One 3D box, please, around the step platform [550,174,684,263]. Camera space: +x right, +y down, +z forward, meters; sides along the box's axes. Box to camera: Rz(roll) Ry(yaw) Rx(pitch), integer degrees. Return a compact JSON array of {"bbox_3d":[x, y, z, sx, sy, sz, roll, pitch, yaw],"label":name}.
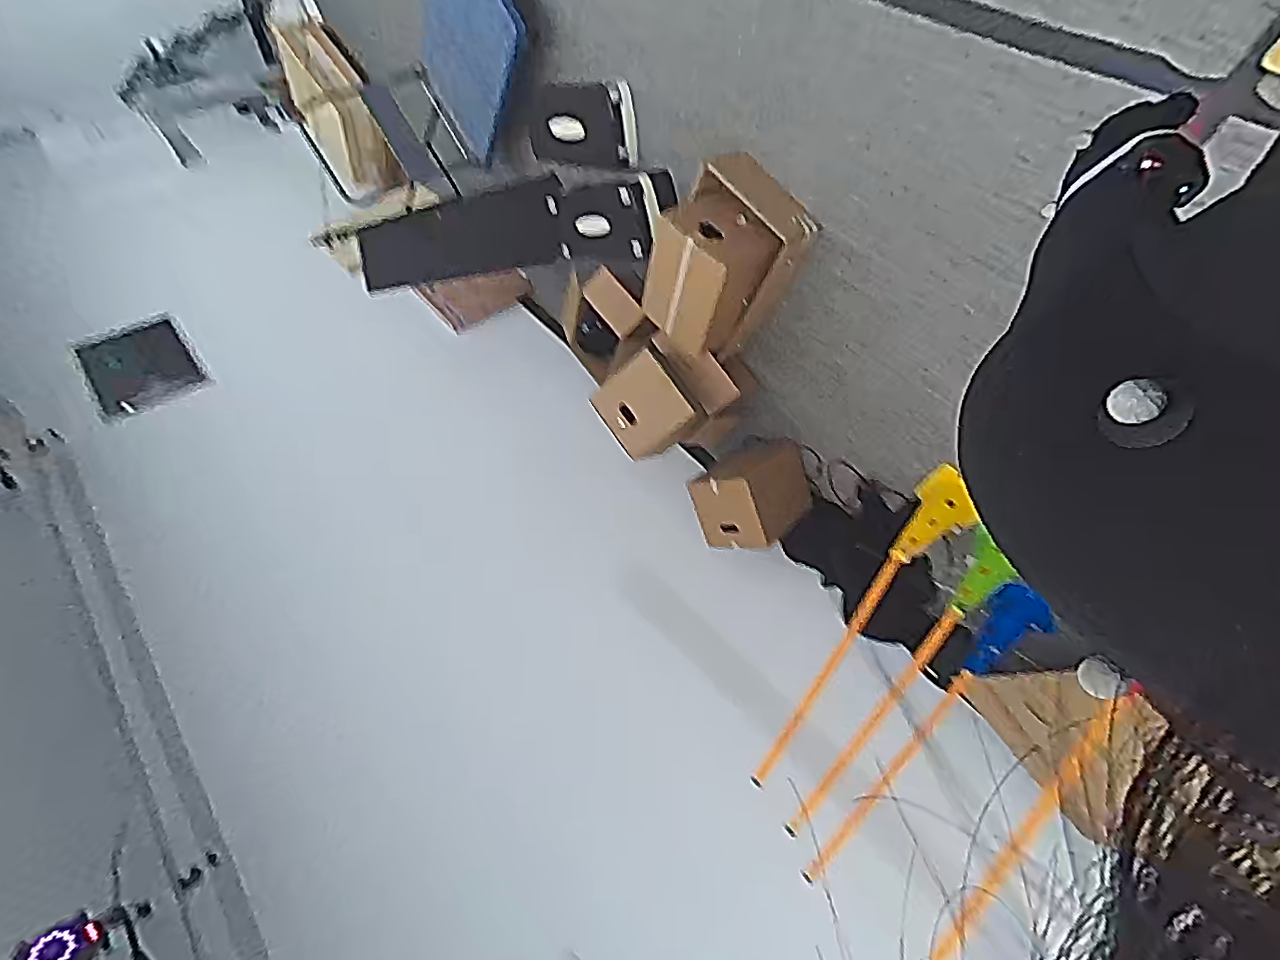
[{"bbox_3d":[-0.121,-1.104,2.329,0.684,0.204,0.286,24,140,47],"label":"step platform"}]
